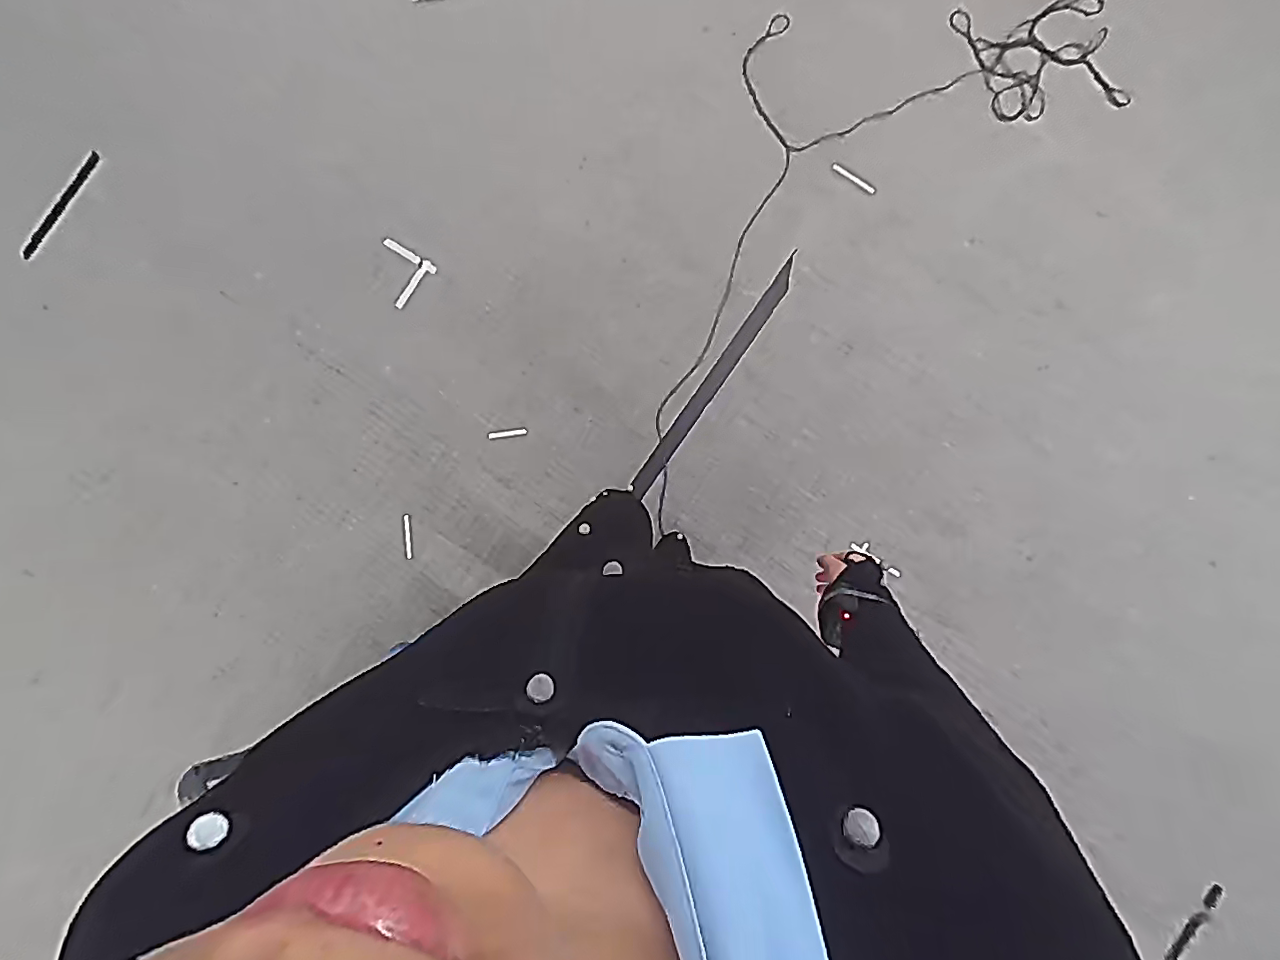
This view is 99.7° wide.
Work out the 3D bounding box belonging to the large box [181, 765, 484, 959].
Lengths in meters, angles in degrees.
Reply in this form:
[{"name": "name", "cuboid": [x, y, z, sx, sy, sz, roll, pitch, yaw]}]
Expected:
[{"name": "large box", "cuboid": [-0.612, 0.898, 1.134, 0.408, 0.320, 0.320, 35, 88, 2]}]
